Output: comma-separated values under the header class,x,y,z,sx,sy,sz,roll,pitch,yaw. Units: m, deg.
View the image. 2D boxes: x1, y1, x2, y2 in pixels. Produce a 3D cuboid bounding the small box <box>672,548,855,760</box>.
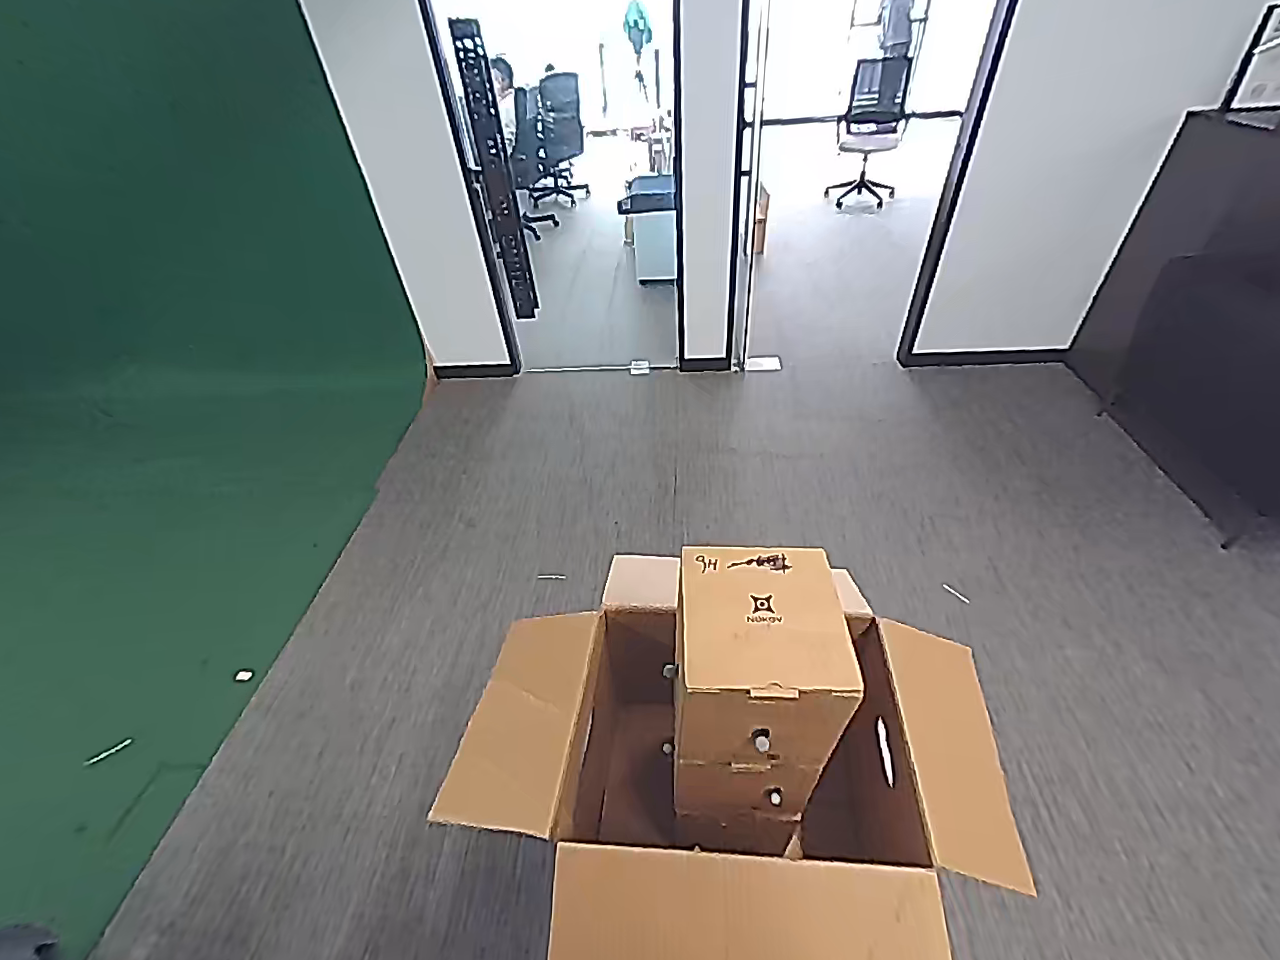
class,x,y,z,sx,sy,sz,roll,pitch,yaw
small box,0.123,0.199,0.614,0.168,0.176,0.179,2,43,2
